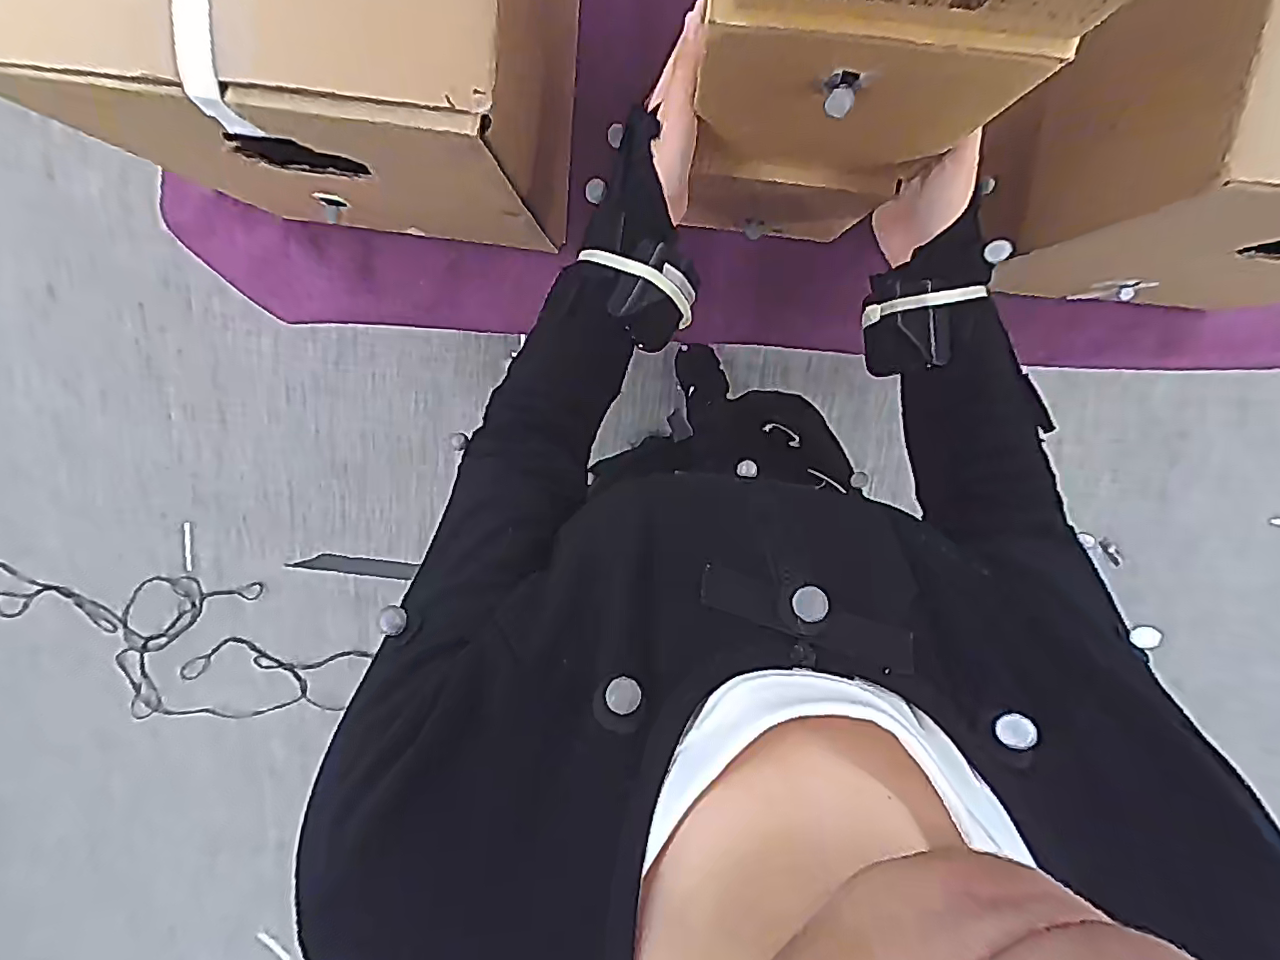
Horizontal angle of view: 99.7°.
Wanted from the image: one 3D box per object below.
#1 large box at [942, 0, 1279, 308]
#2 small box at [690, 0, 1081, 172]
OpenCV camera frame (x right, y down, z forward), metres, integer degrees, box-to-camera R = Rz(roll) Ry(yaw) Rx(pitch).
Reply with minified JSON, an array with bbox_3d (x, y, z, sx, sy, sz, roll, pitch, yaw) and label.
[{"bbox_3d":[0.482,-0.364,0.407,0.320,0.320,0.408,5,99,0],"label":"large box"},{"bbox_3d":[0.129,-0.302,0.318,0.179,0.176,0.168,7,102,1],"label":"small box"}]
